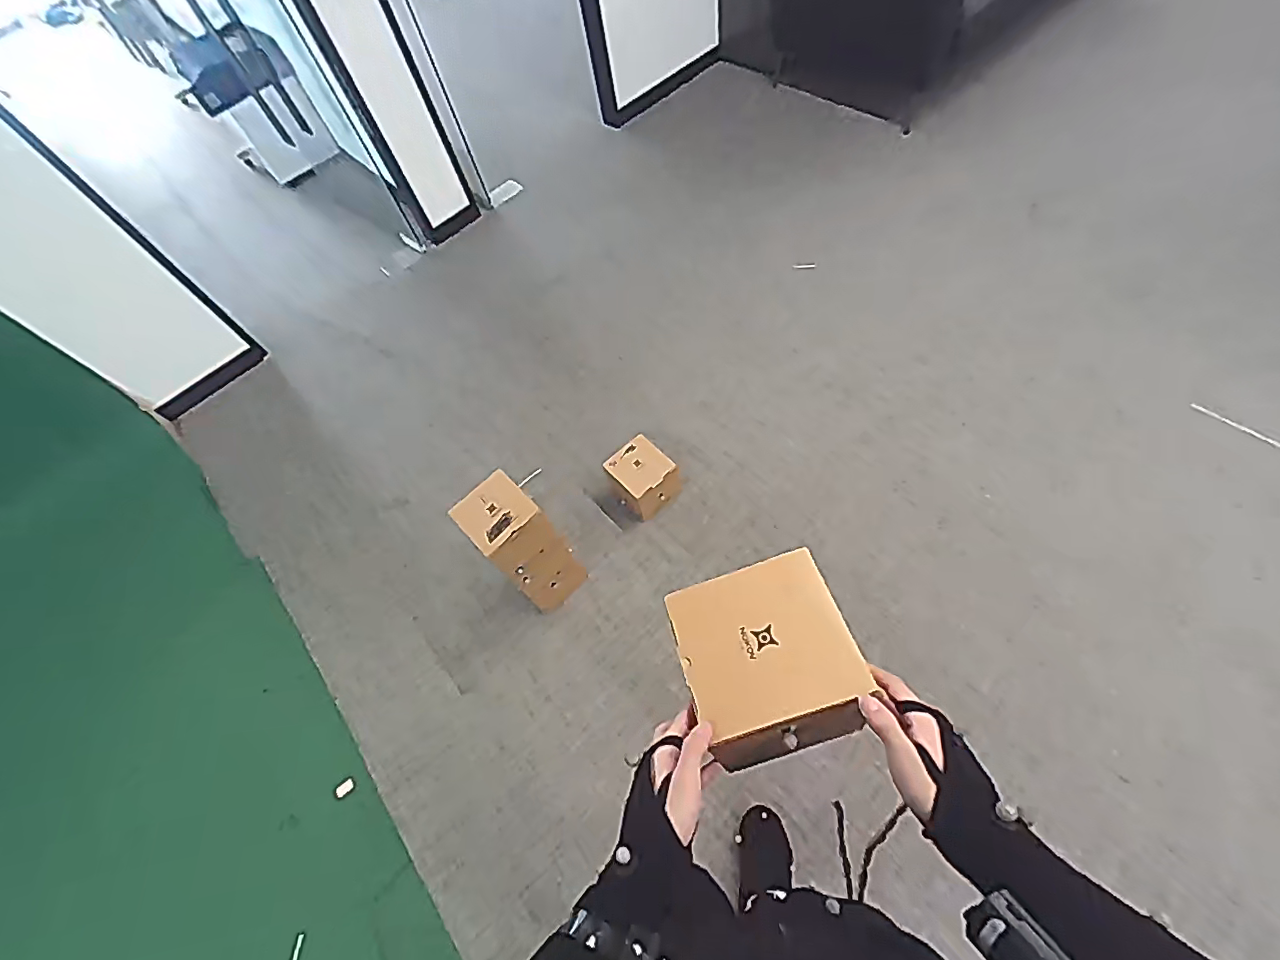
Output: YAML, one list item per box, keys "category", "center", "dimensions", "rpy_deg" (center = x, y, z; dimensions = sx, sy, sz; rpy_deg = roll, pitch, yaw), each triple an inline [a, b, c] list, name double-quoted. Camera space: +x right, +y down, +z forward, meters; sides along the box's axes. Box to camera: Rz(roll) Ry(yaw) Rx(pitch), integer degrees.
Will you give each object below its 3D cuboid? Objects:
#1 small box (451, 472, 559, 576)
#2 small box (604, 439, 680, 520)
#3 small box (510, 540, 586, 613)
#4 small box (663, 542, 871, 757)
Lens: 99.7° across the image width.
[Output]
- category: "small box"
  center: [-0.331, 0.119, 1.361]
  dimensions: [0.168, 0.176, 0.179]
  rpy_deg: [-42, 61, -15]
- category: "small box"
  center: [0.013, 0.007, 1.751]
  dimensions: [0.168, 0.176, 0.179]
  rpy_deg: [-39, 62, -14]
- category: "small box"
  center: [-0.288, 0.276, 1.646]
  dimensions: [0.179, 0.176, 0.168]
  rpy_deg: [-40, 62, -14]
- category: "small box"
  center: [0.146, 0.205, 0.635]
  dimensions: [0.179, 0.176, 0.168]
  rpy_deg: [-21, 51, 5]
